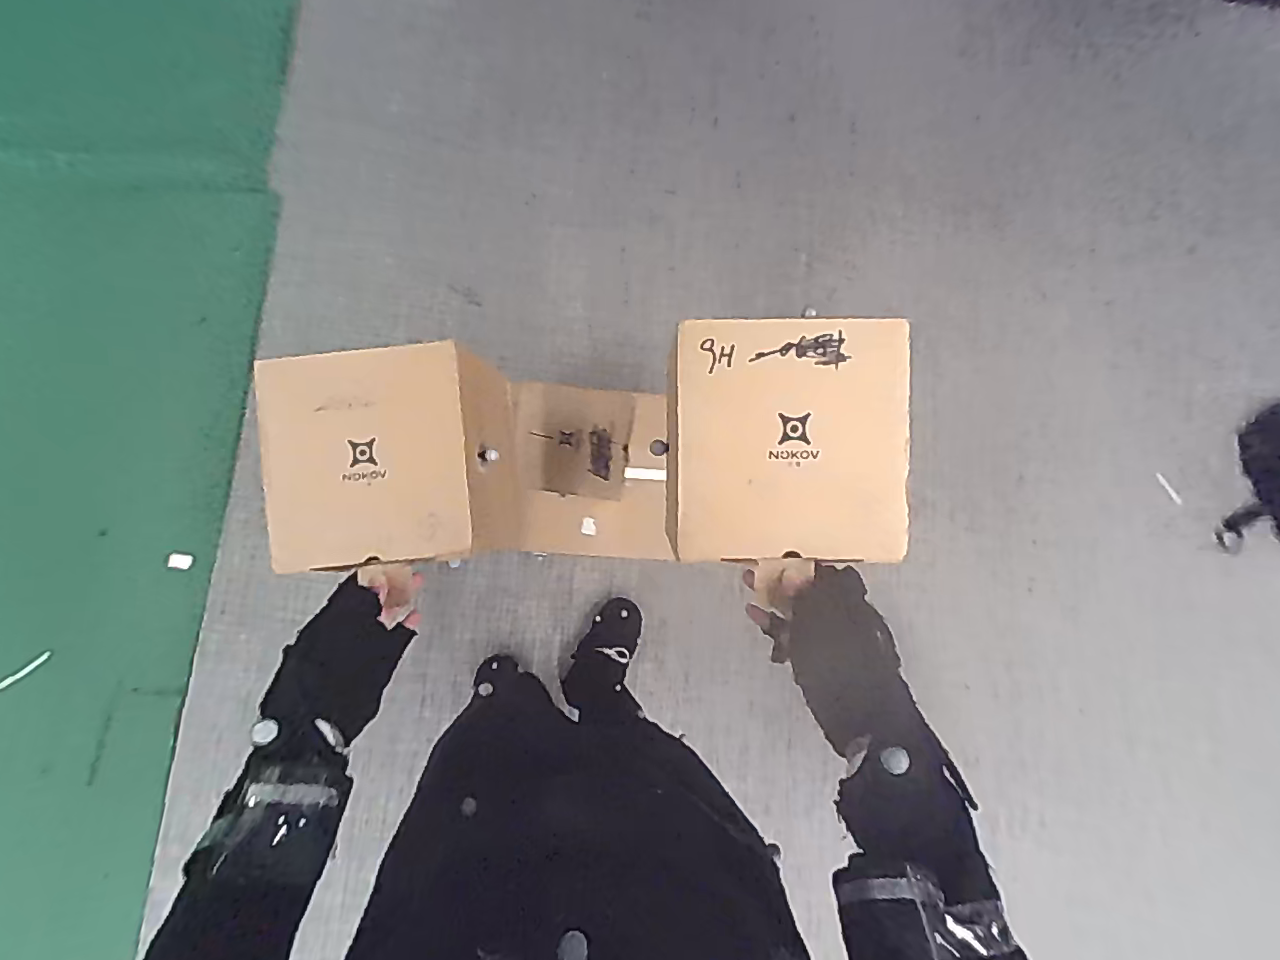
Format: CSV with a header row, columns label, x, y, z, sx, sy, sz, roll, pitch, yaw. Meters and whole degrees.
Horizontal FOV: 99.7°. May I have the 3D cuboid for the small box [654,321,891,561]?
label,x,y,z,sx,sy,sz,roll,pitch,yaw
small box,0.099,-0.032,0.473,0.168,0.176,0.179,-1,92,-1

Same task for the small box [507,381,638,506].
label,x,y,z,sx,sy,sz,roll,pitch,yaw
small box,-0.108,-0.053,0.907,0.179,0.176,0.168,11,85,-3
